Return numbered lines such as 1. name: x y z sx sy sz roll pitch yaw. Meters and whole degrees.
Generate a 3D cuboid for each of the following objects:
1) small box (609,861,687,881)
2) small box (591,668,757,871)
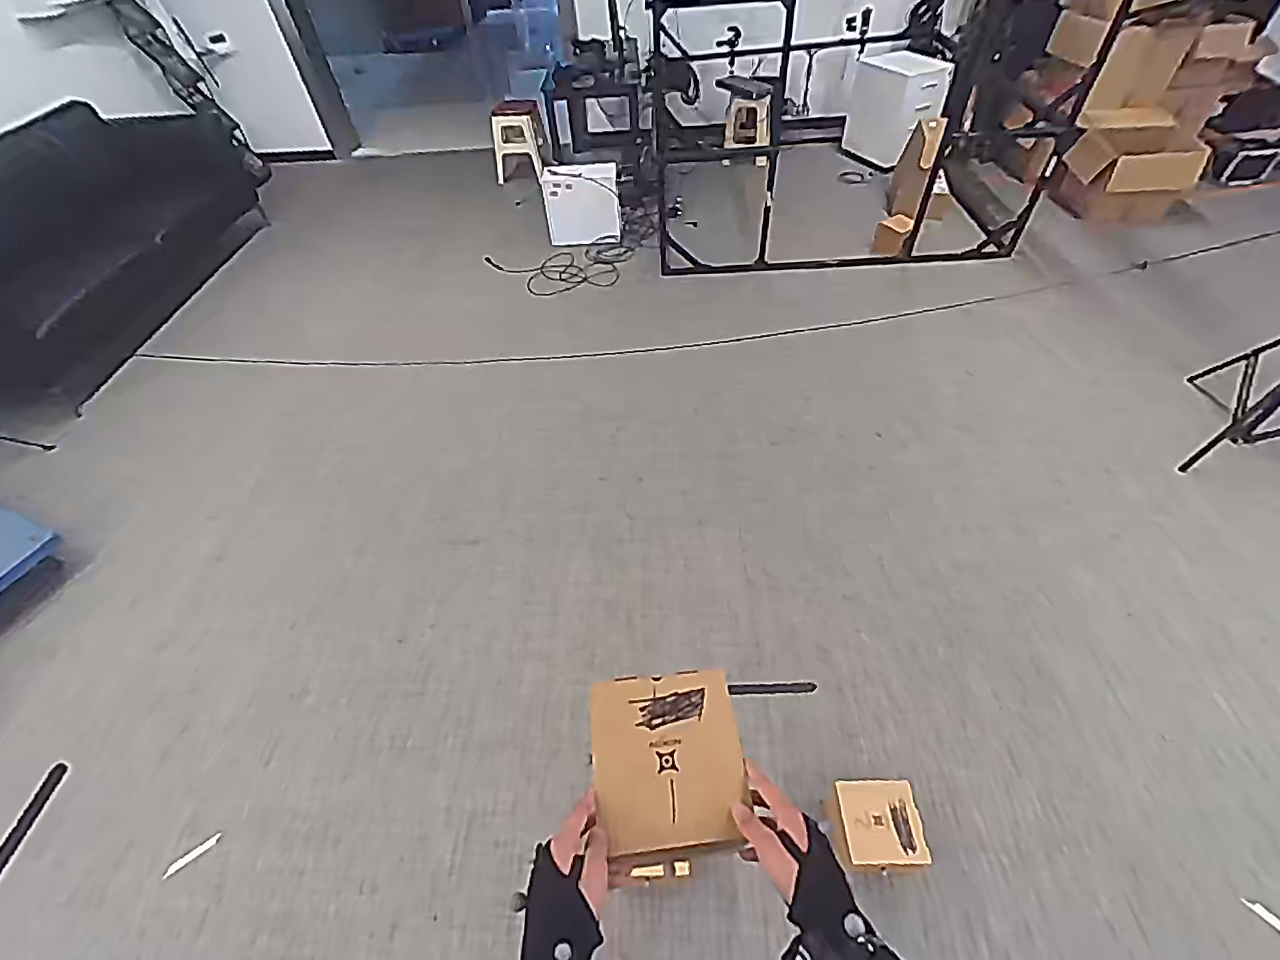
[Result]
1. small box: 0.022 0.863 1.310 0.179 0.176 0.168 -3 49 3
2. small box: 0.028 0.351 0.655 0.168 0.176 0.179 -5 51 -5
